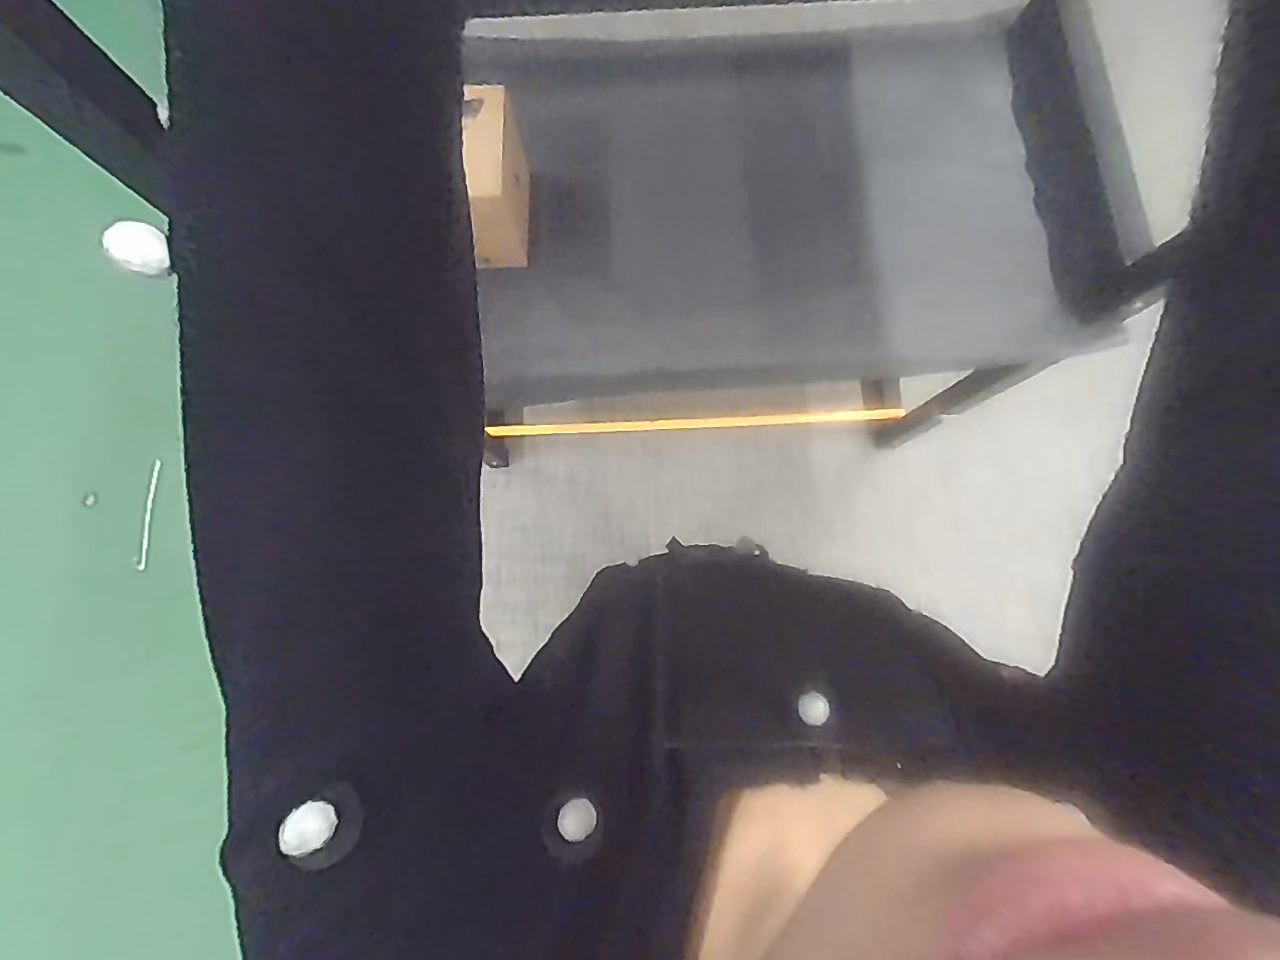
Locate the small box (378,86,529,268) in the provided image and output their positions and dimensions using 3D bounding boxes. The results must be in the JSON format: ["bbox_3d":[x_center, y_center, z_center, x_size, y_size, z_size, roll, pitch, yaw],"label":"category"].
[{"bbox_3d":[-0.265,-0.442,0.807,0.168,0.176,0.179,-2,80,0],"label":"small box"}]
